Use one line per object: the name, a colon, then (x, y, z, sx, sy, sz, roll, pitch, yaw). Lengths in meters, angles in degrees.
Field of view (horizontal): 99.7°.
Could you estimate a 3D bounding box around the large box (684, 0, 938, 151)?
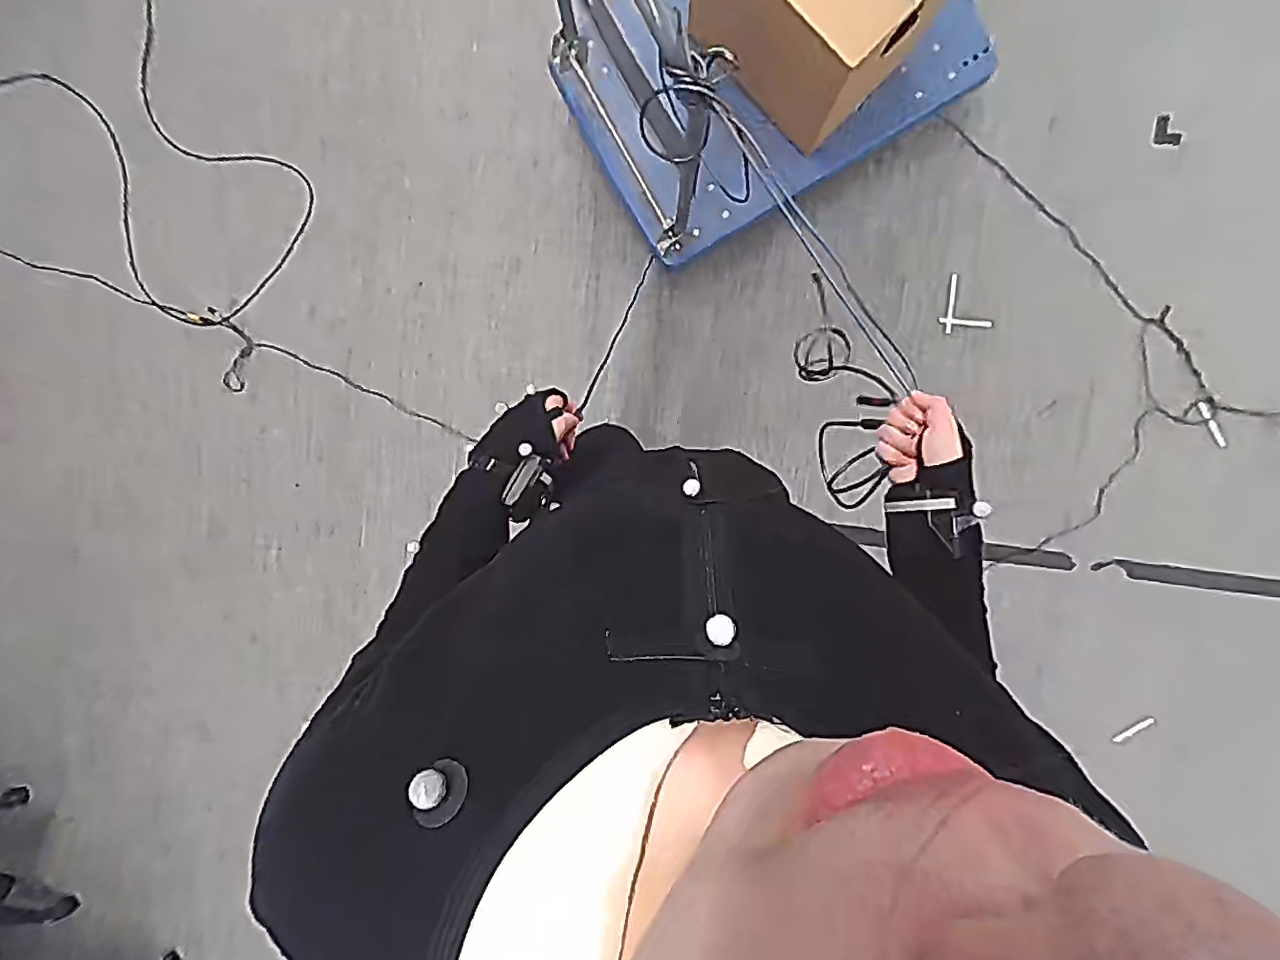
large box: (0.338, -0.977, 1.070, 0.320, 0.320, 0.408, -45, 93, 6)
